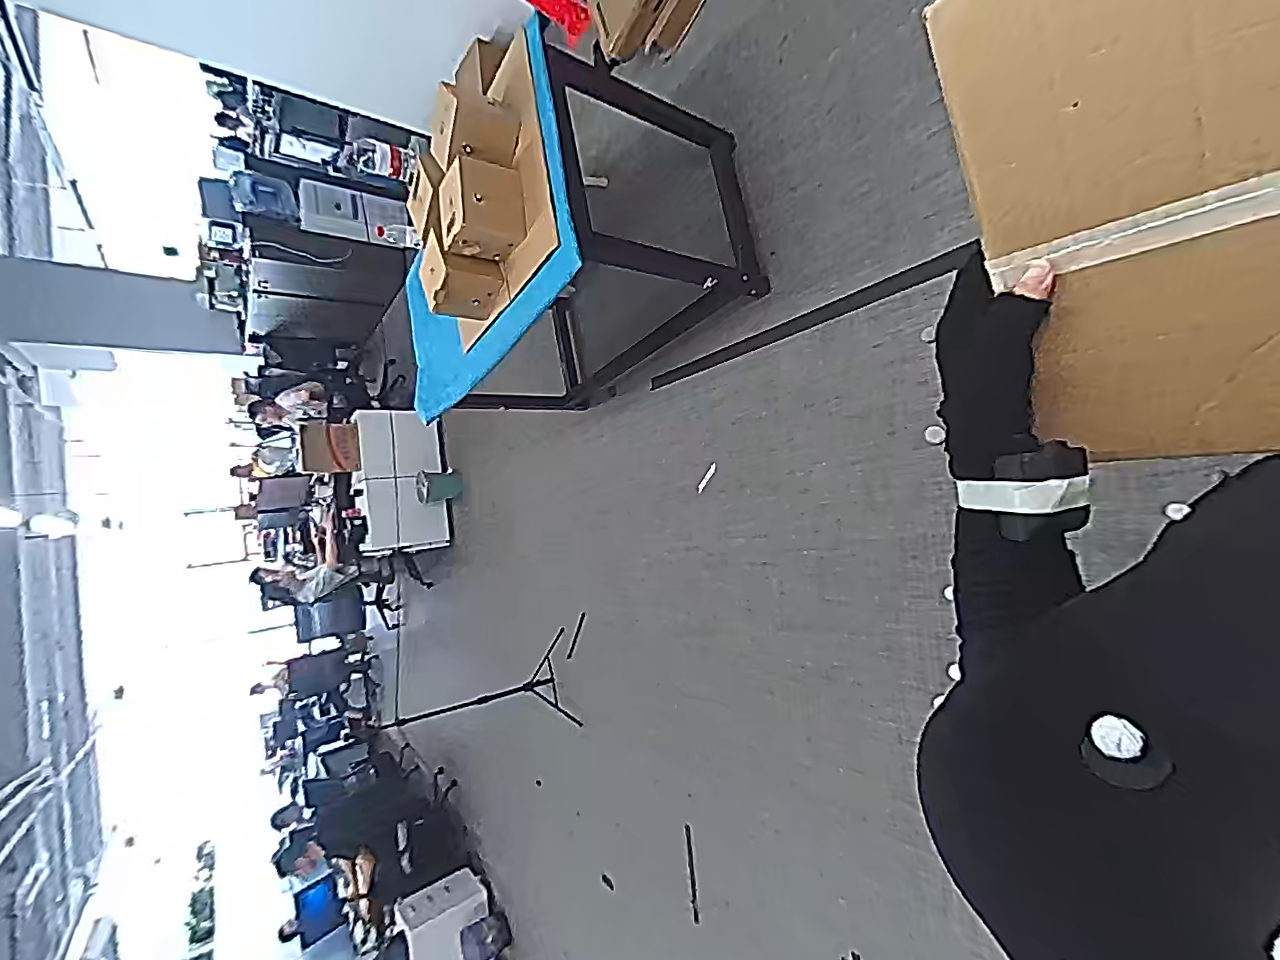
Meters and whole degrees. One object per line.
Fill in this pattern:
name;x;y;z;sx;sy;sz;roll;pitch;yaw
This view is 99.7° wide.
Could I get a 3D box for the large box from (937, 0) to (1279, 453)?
large box;0.463;-0.246;0.305;0.408;0.320;0.320;-6;122;49
